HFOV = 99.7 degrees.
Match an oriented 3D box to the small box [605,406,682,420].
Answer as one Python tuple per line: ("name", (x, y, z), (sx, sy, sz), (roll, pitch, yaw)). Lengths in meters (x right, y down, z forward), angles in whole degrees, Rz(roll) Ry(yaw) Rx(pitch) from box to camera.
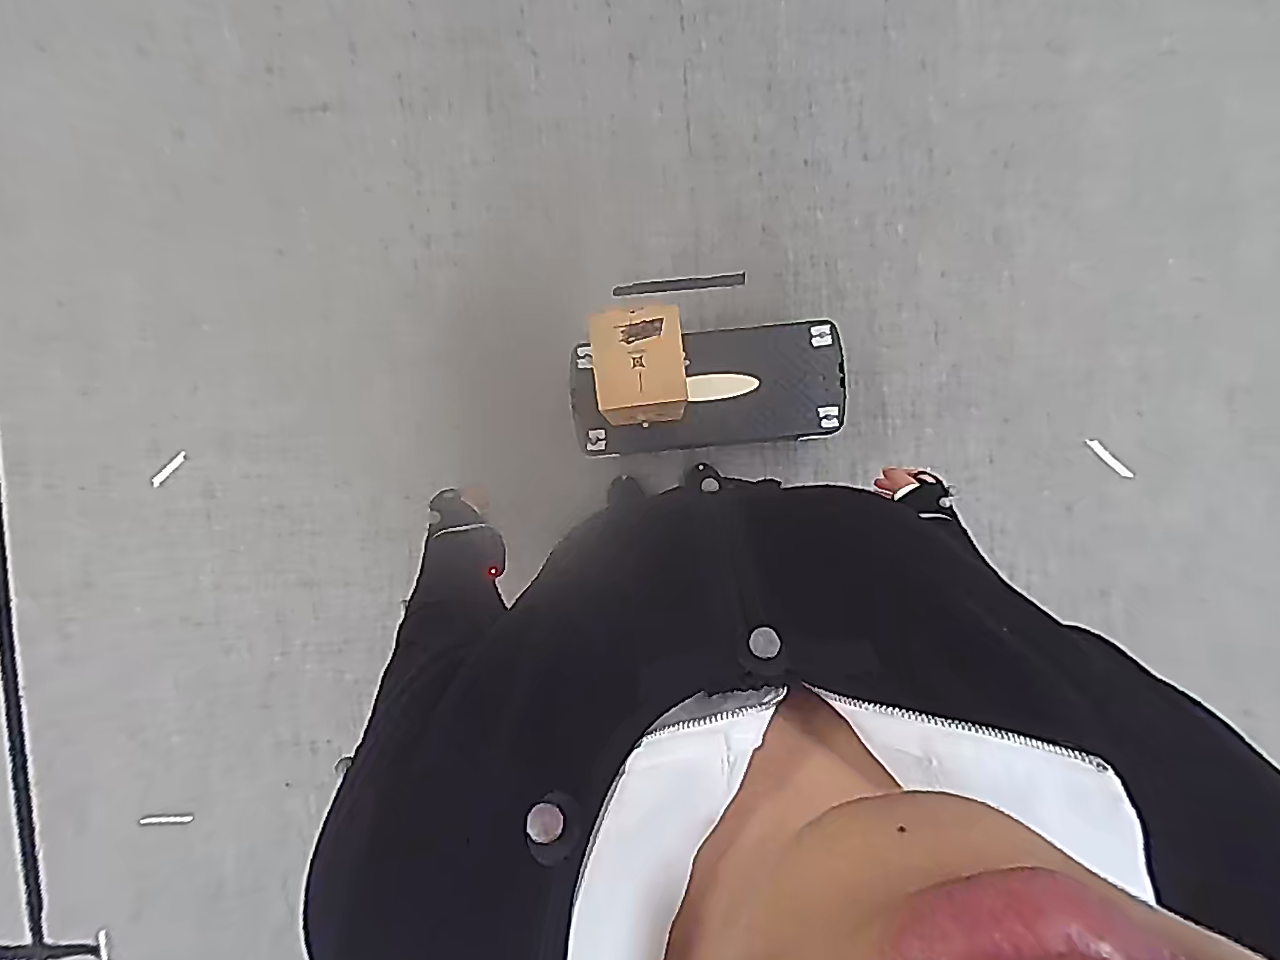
("small box", (0.002, -0.225, 1.216), (0.168, 0.176, 0.179), (-5, 92, 2))

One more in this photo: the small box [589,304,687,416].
("small box", (-0.003, -0.225, 1.052), (0.168, 0.176, 0.179), (-7, 92, 1))
